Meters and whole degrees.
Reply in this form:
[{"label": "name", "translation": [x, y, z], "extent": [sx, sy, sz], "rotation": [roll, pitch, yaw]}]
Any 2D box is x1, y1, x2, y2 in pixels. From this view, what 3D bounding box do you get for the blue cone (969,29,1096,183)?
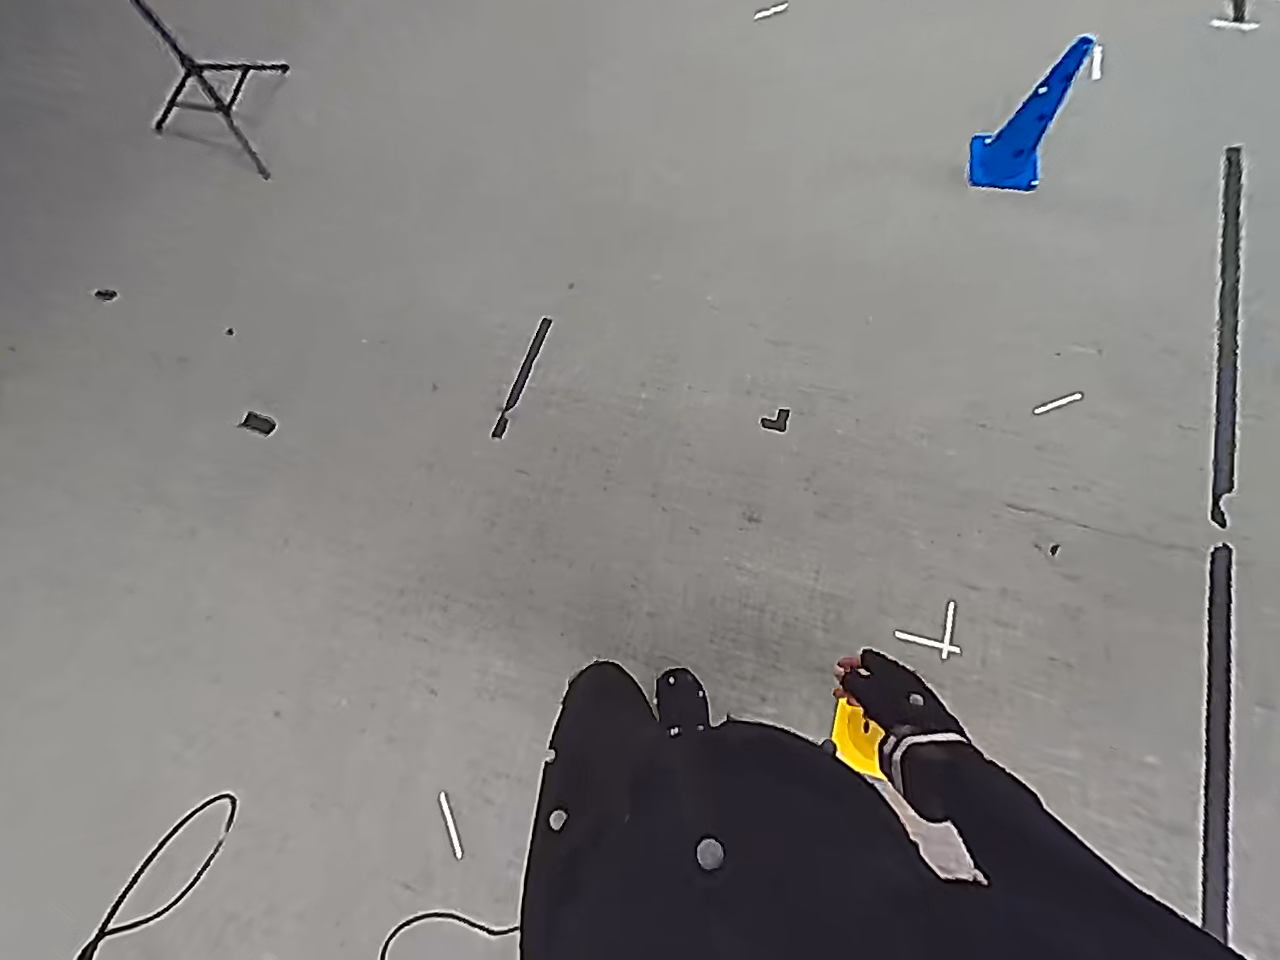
[{"label": "blue cone", "translation": [1.105, -1.046, 1.510], "extent": [0.192, 0.380, 0.193], "rotation": [10, 74, 6]}]
